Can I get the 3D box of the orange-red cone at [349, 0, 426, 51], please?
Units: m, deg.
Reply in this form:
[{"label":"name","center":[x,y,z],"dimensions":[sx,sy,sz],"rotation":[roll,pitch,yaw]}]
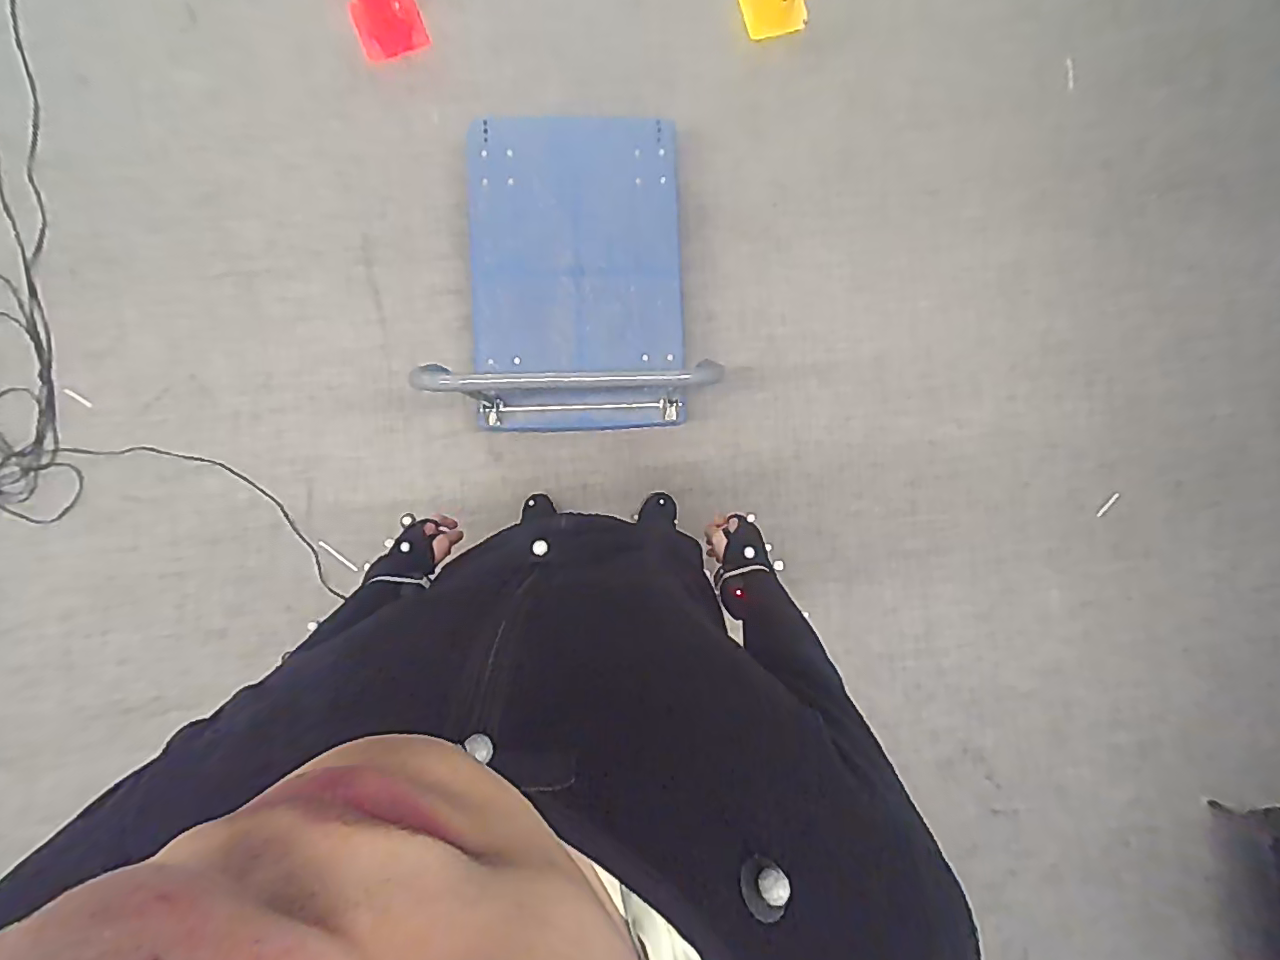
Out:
[{"label":"orange-red cone","center":[-0.753,-1.406,1.455],"dimensions":[0.199,0.360,0.198],"rotation":[-20,89,-2]}]
